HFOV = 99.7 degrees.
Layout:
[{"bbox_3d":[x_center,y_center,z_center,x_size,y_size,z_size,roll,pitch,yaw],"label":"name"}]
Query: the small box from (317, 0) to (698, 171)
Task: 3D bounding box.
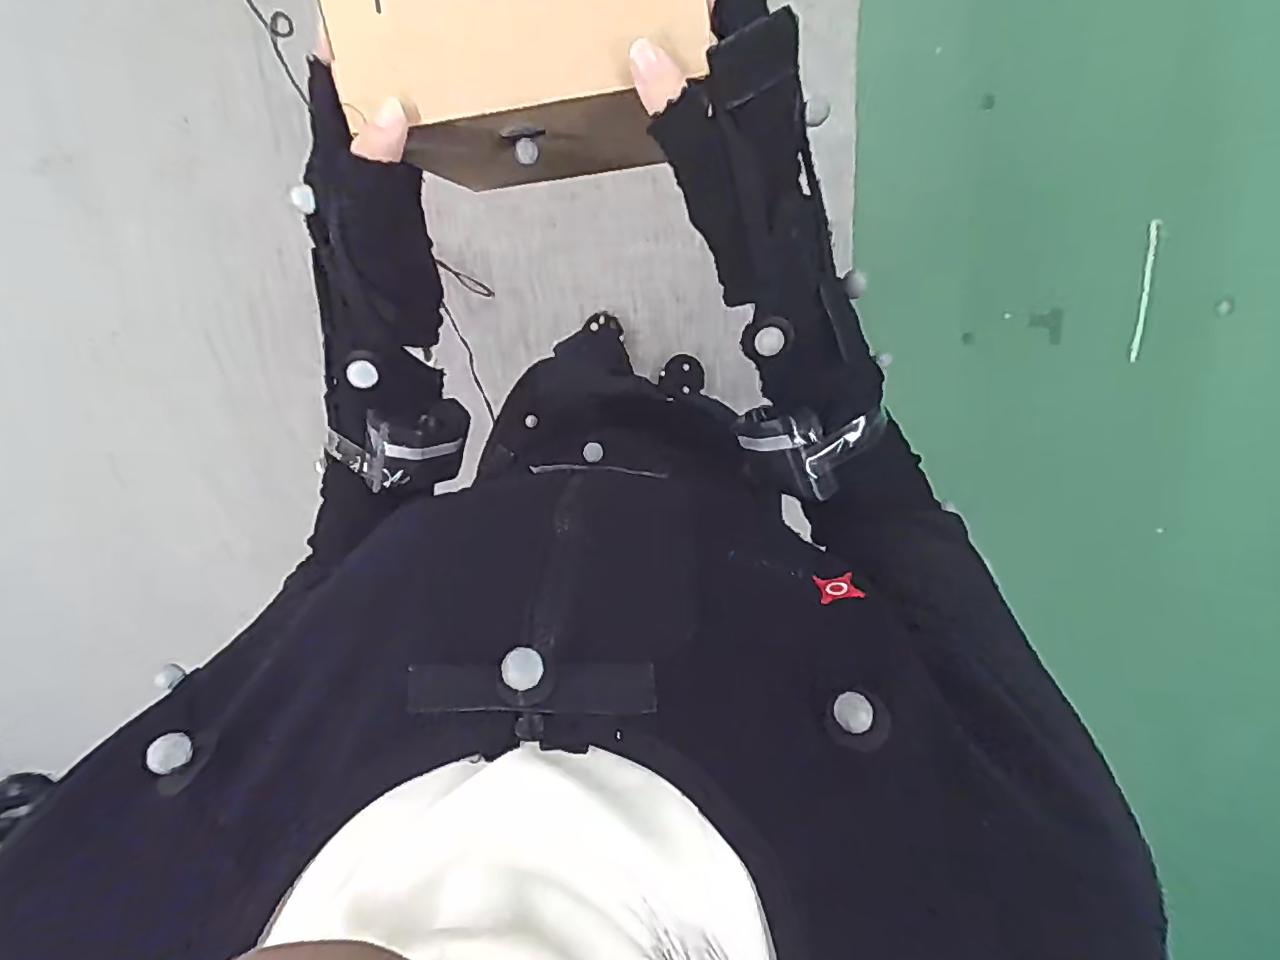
[{"bbox_3d":[-0.061,-0.289,0.301,0.179,0.176,0.168,-5,109,6],"label":"small box"}]
